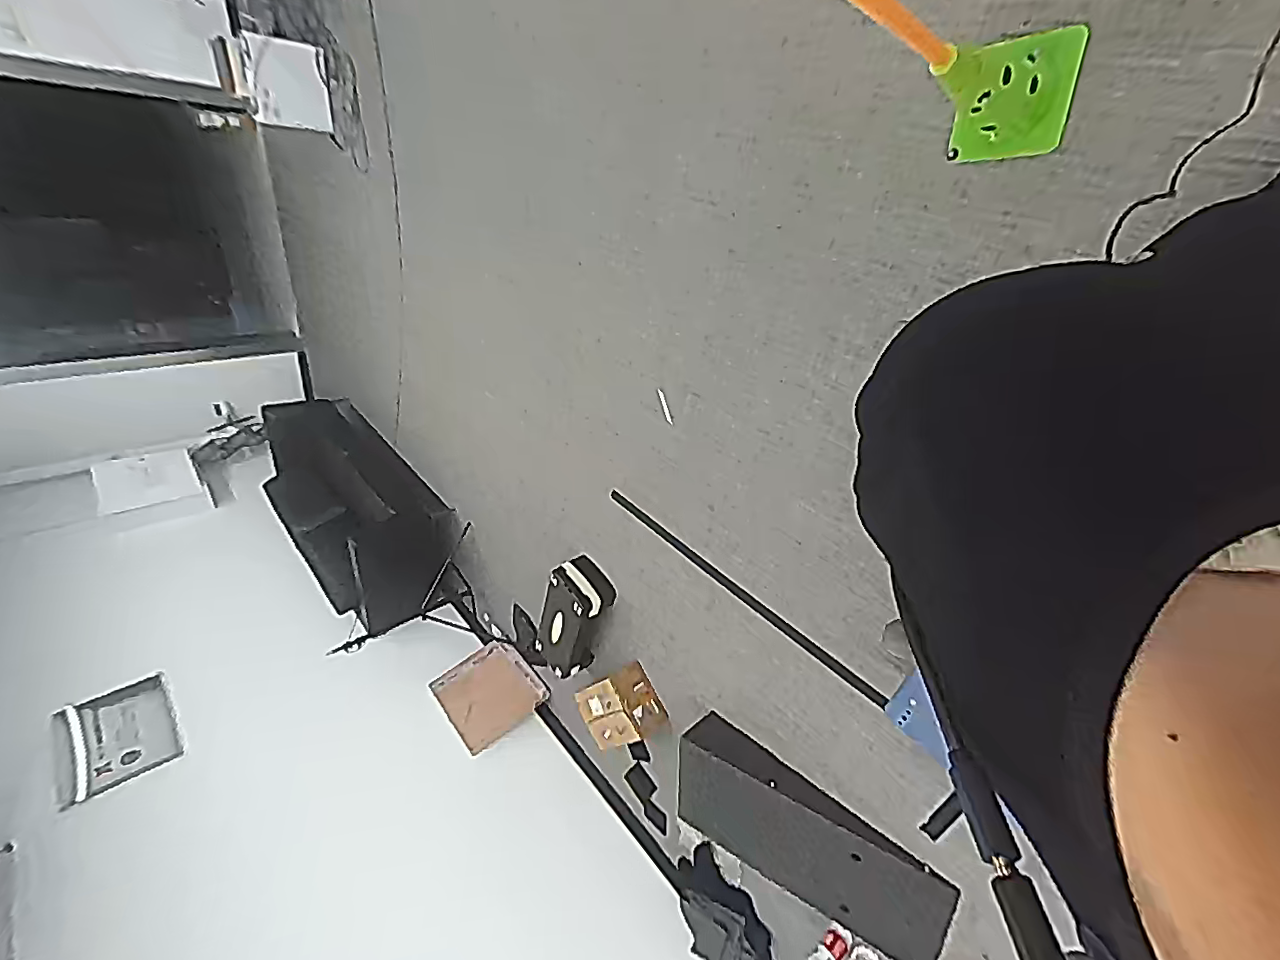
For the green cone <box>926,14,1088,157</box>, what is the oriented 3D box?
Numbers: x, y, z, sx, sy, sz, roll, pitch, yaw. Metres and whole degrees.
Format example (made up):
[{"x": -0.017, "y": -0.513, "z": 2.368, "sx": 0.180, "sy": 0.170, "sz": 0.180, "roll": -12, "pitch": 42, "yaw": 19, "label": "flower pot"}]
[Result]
[{"x": 0.585, "y": -0.700, "z": 0.925, "sx": 0.200, "sy": 0.368, "sz": 0.202, "roll": 22, "pitch": 120, "yaw": 43, "label": "green cone"}]
